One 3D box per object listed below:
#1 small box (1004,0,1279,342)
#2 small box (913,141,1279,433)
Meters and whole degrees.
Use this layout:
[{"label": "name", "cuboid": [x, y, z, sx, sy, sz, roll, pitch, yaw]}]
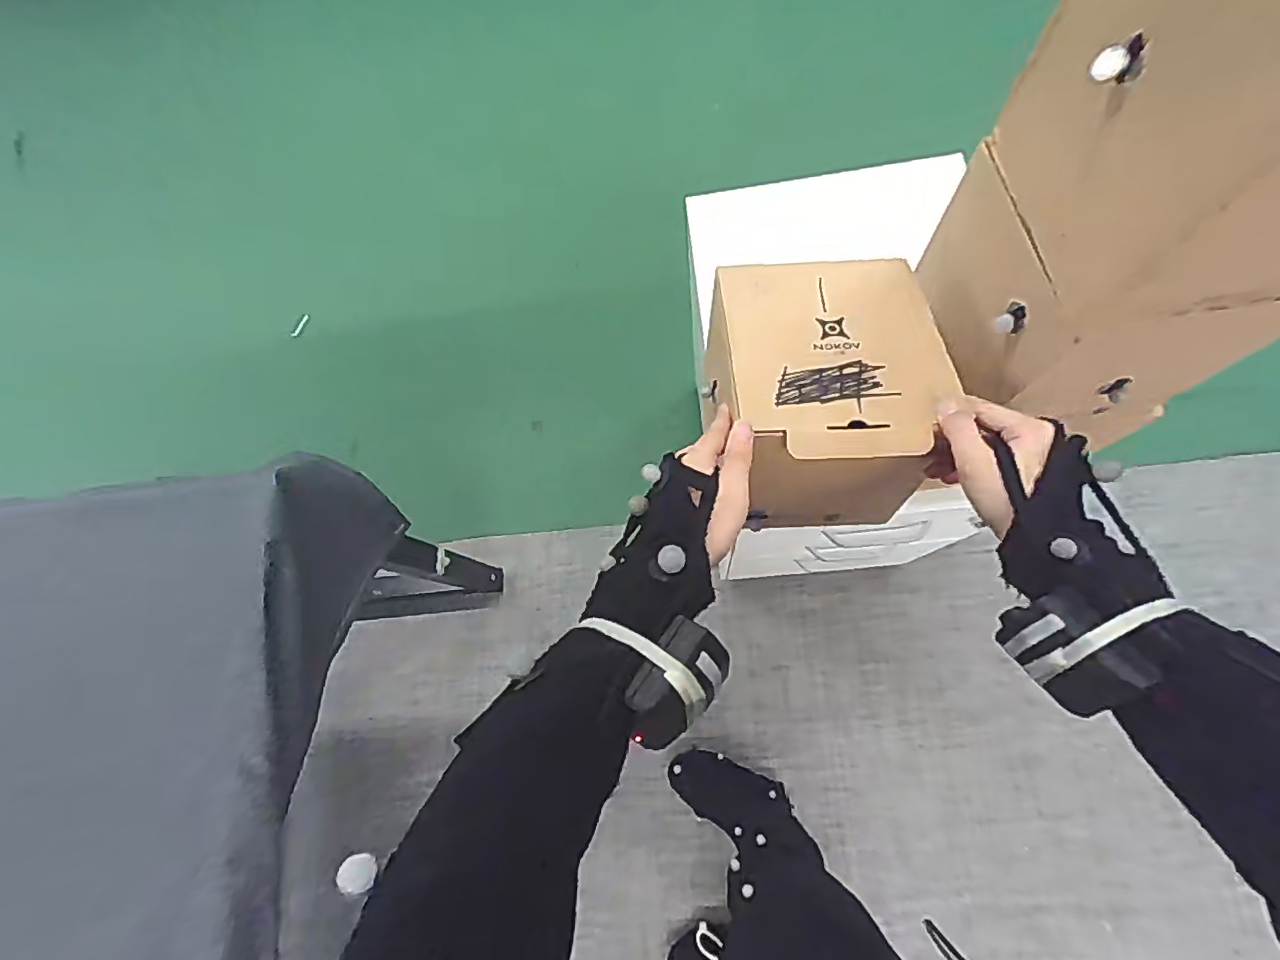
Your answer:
[{"label": "small box", "cuboid": [0.328, -0.198, 0.275, 0.168, 0.176, 0.179, -7, 70, 5]}, {"label": "small box", "cuboid": [0.348, -0.148, 0.430, 0.168, 0.176, 0.179, -10, 71, 4]}]
